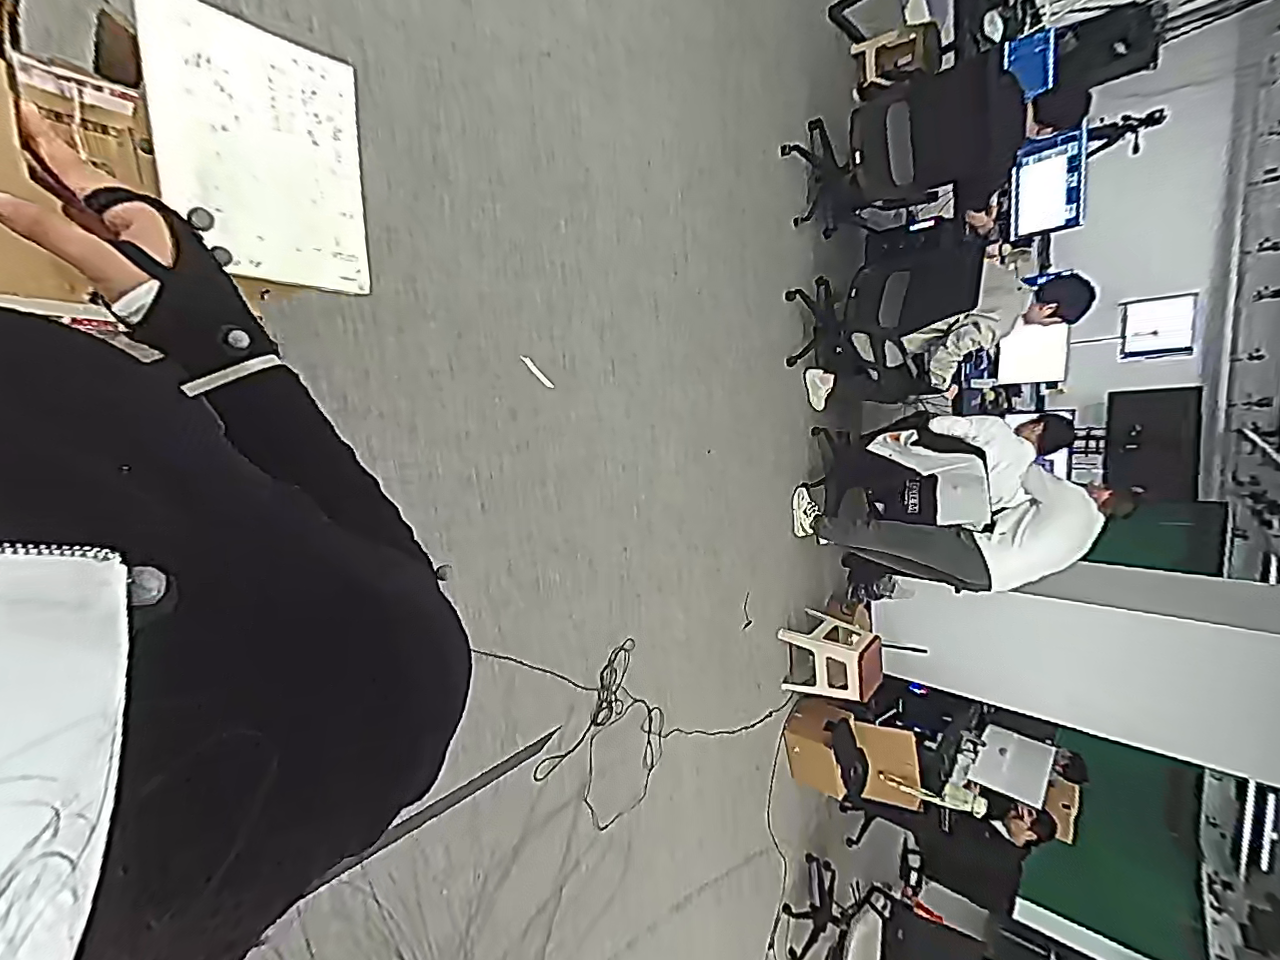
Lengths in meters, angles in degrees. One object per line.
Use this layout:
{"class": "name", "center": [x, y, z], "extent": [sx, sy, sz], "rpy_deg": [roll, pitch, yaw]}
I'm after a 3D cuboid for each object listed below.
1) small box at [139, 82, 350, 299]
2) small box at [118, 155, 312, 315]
{"class": "small box", "center": [-0.491, -0.337, 0.673], "extent": [0.168, 0.176, 0.179], "rpy_deg": [-13, 103, -48]}
{"class": "small box", "center": [-0.613, -0.337, 0.784], "extent": [0.179, 0.176, 0.168], "rpy_deg": [-17, 105, -47]}
